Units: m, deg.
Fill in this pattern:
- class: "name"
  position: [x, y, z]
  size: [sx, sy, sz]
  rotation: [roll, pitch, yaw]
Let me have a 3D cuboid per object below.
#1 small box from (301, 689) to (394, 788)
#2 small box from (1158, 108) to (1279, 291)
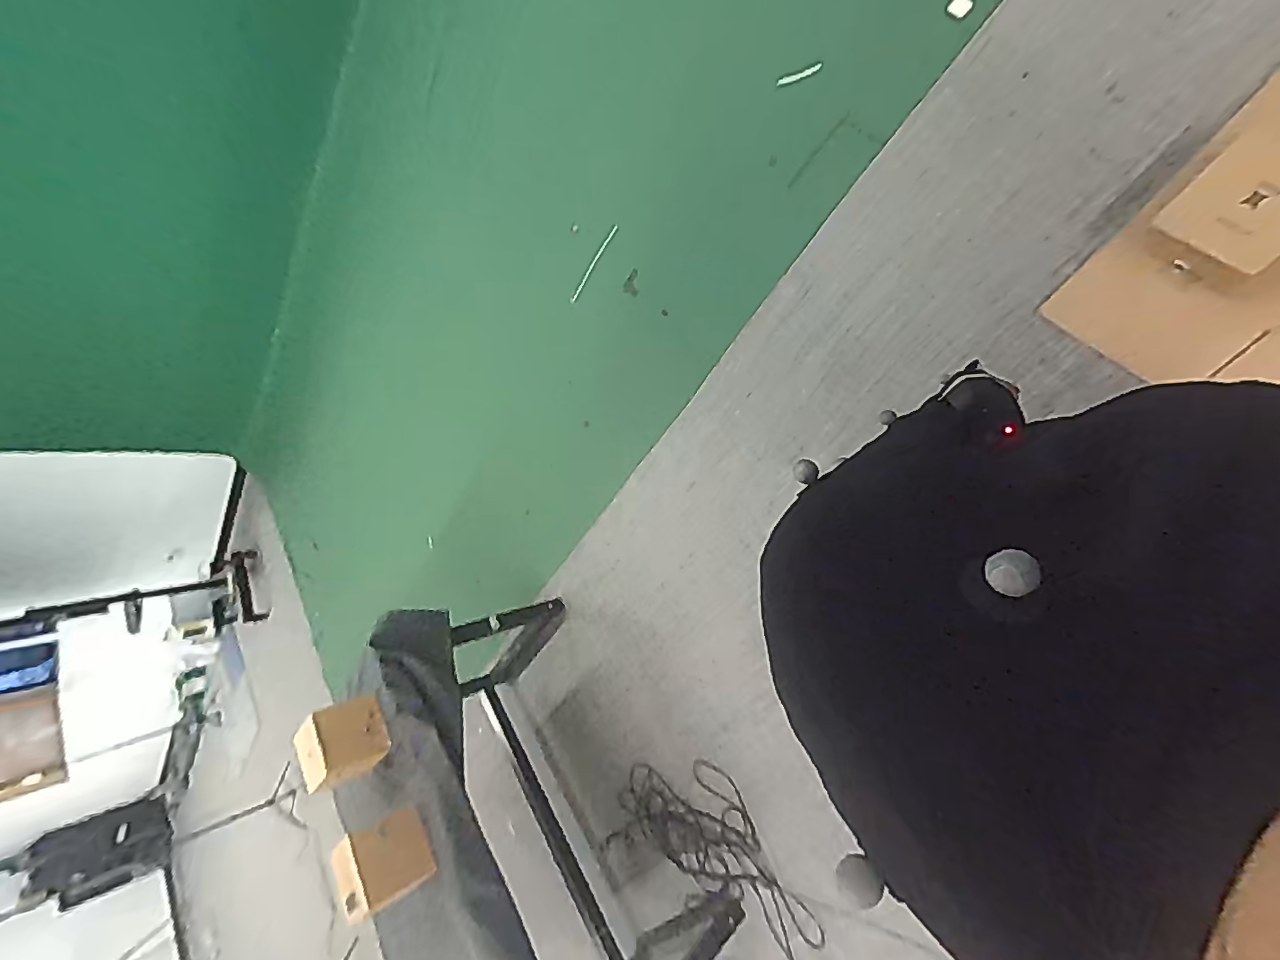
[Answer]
- class: "small box"
  position: [-0.806, 0.709, 1.493]
  size: [0.179, 0.176, 0.168]
  rotation: [-47, 64, 31]
- class: "small box"
  position: [0.979, -0.432, 0.858]
  size: [0.168, 0.176, 0.179]
  rotation: [52, 123, 27]
